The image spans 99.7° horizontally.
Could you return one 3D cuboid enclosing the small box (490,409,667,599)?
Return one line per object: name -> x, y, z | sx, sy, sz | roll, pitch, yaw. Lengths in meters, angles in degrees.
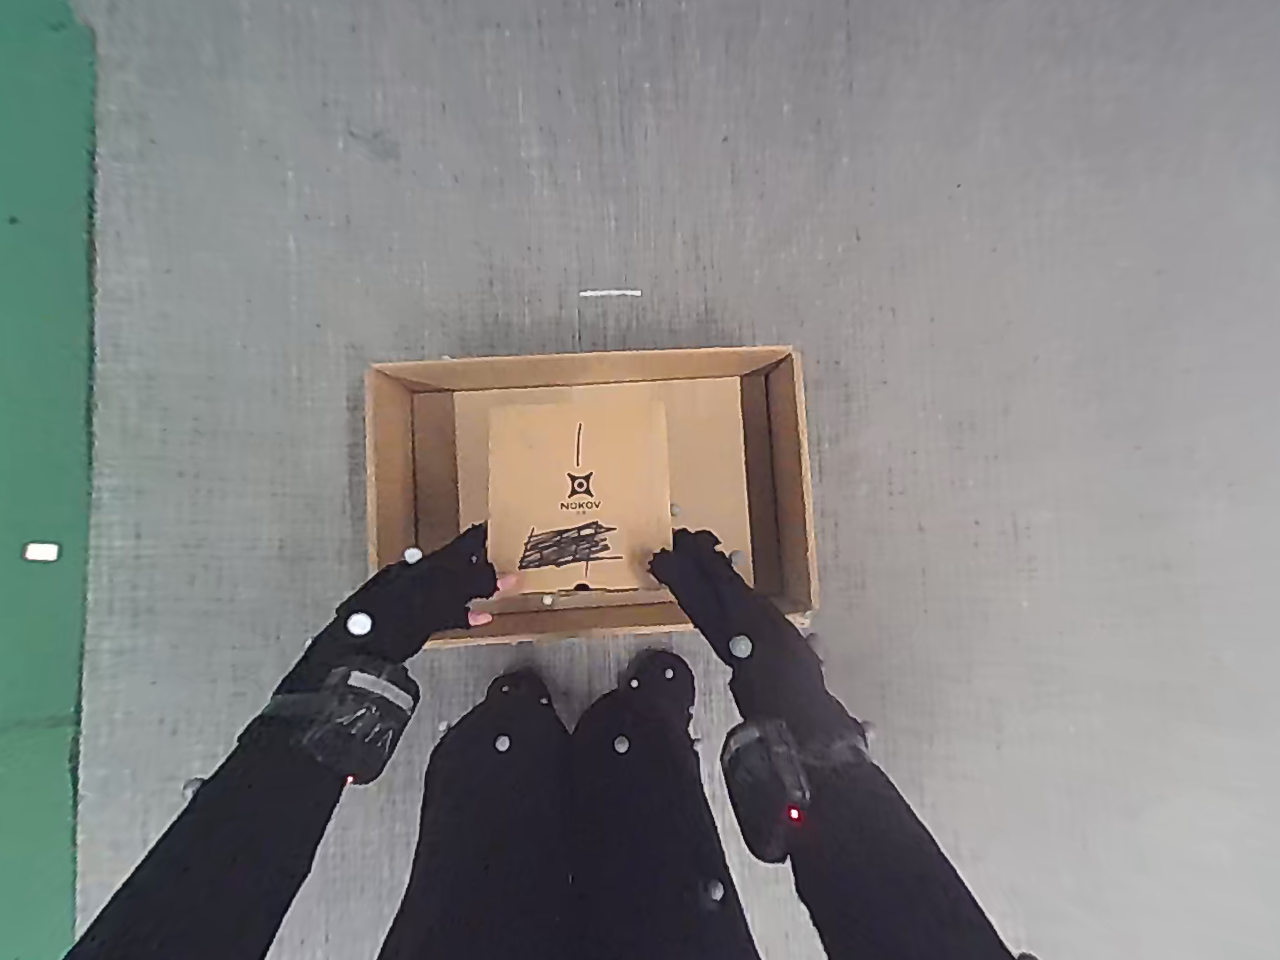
small box -> -0.057, 0.033, 0.583 | 0.168, 0.176, 0.179 | -2, 79, -1
